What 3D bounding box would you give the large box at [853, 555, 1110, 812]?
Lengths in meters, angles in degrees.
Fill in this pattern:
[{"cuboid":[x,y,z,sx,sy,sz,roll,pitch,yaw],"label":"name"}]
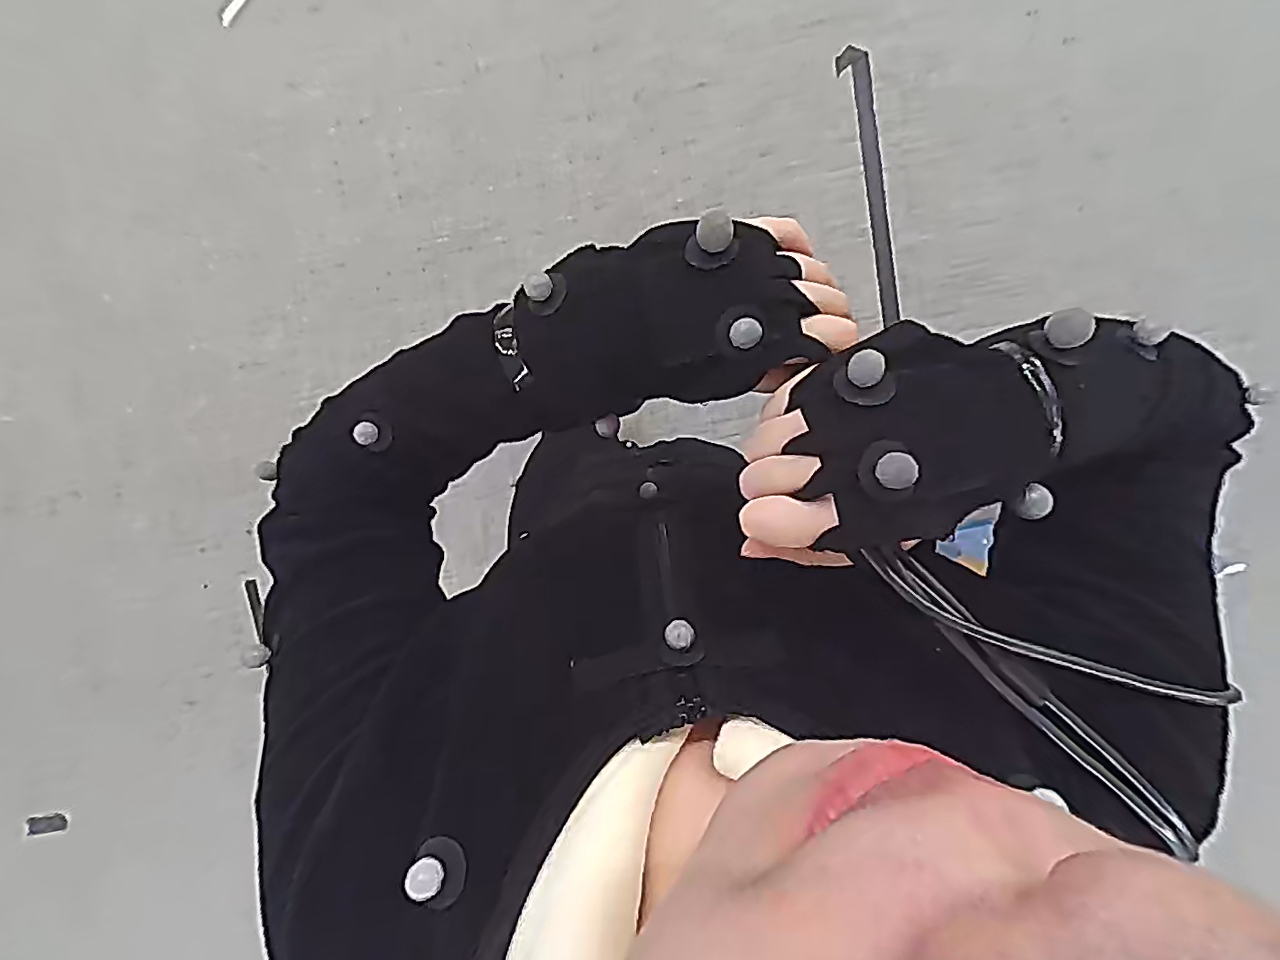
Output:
[{"cuboid":[0.765,0.444,1.259,0.320,0.320,0.408,-23,98,-1],"label":"large box"}]
